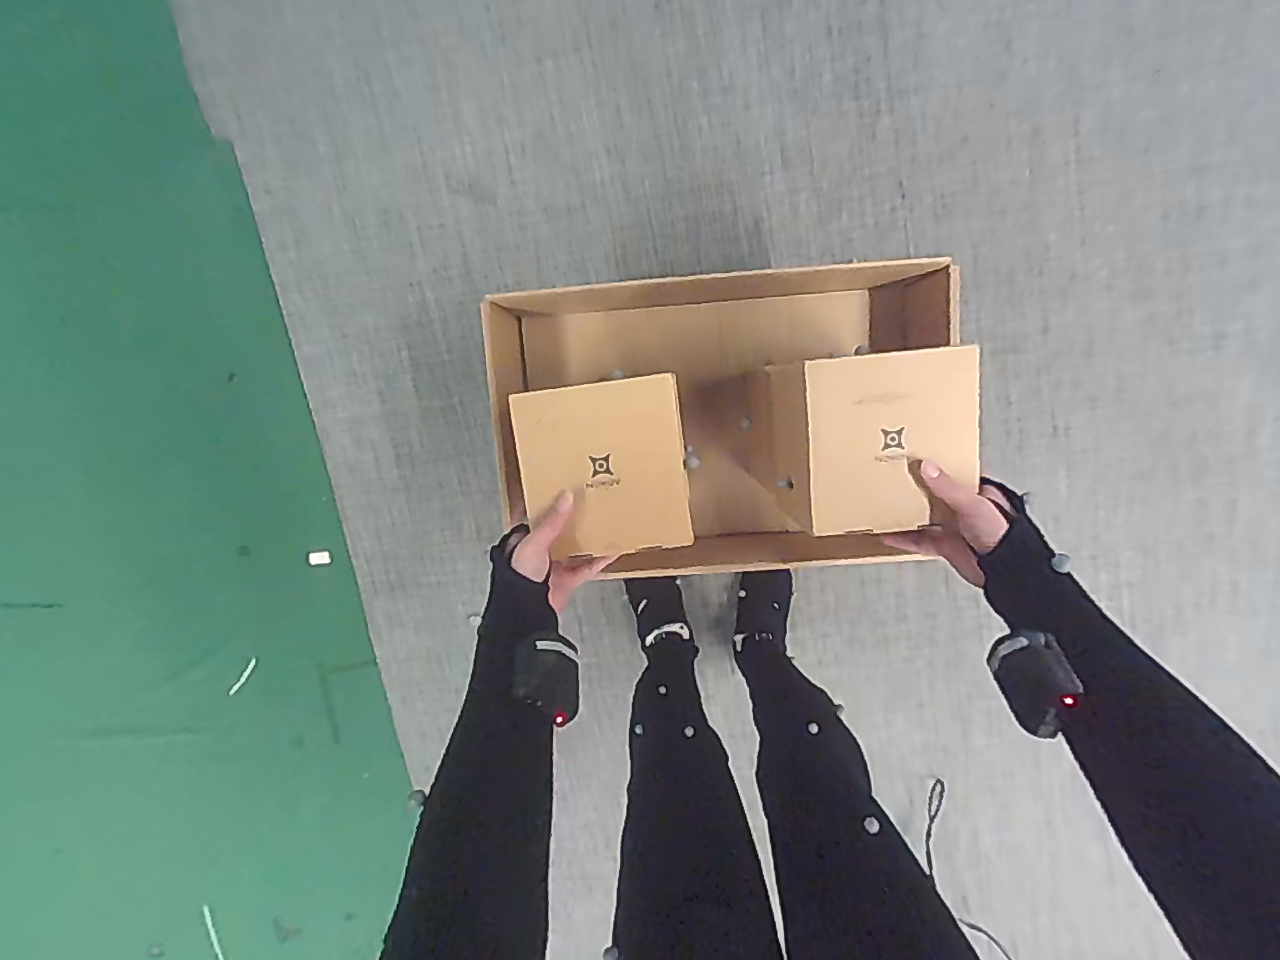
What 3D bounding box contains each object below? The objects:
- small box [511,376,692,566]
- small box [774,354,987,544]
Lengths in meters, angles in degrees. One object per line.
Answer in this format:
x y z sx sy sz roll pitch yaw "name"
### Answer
-0.035 -0.015 0.611 0.168 0.176 0.179 -6 97 3 "small box"
0.248 -0.038 0.593 0.168 0.176 0.179 -4 97 2 "small box"
